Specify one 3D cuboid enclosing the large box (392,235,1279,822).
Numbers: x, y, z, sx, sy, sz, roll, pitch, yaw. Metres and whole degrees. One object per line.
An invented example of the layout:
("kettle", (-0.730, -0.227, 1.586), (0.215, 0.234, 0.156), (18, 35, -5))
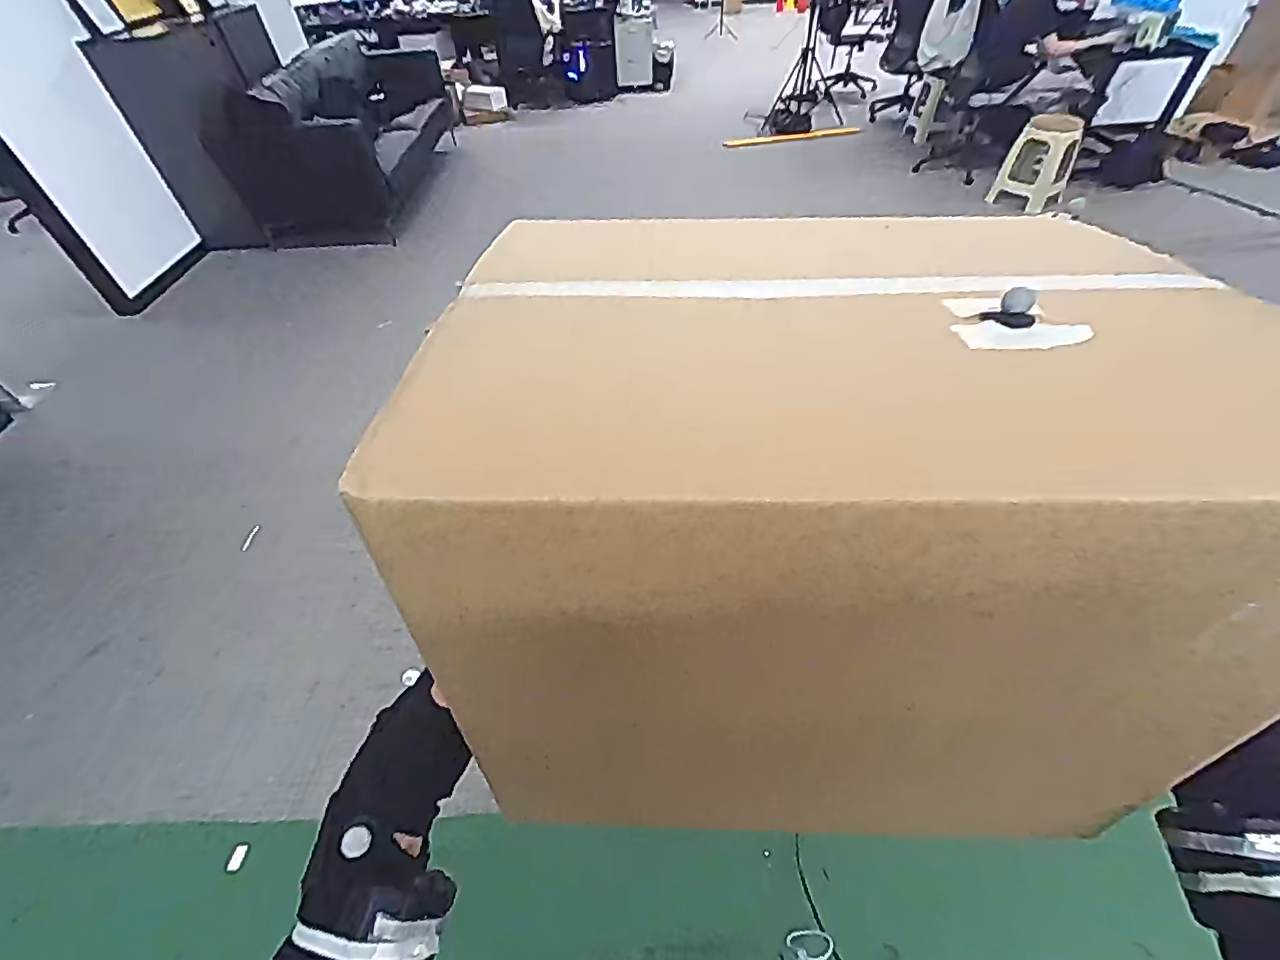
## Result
("large box", (0.109, 0.024, 0.396), (0.408, 0.320, 0.320), (1, 41, 1))
